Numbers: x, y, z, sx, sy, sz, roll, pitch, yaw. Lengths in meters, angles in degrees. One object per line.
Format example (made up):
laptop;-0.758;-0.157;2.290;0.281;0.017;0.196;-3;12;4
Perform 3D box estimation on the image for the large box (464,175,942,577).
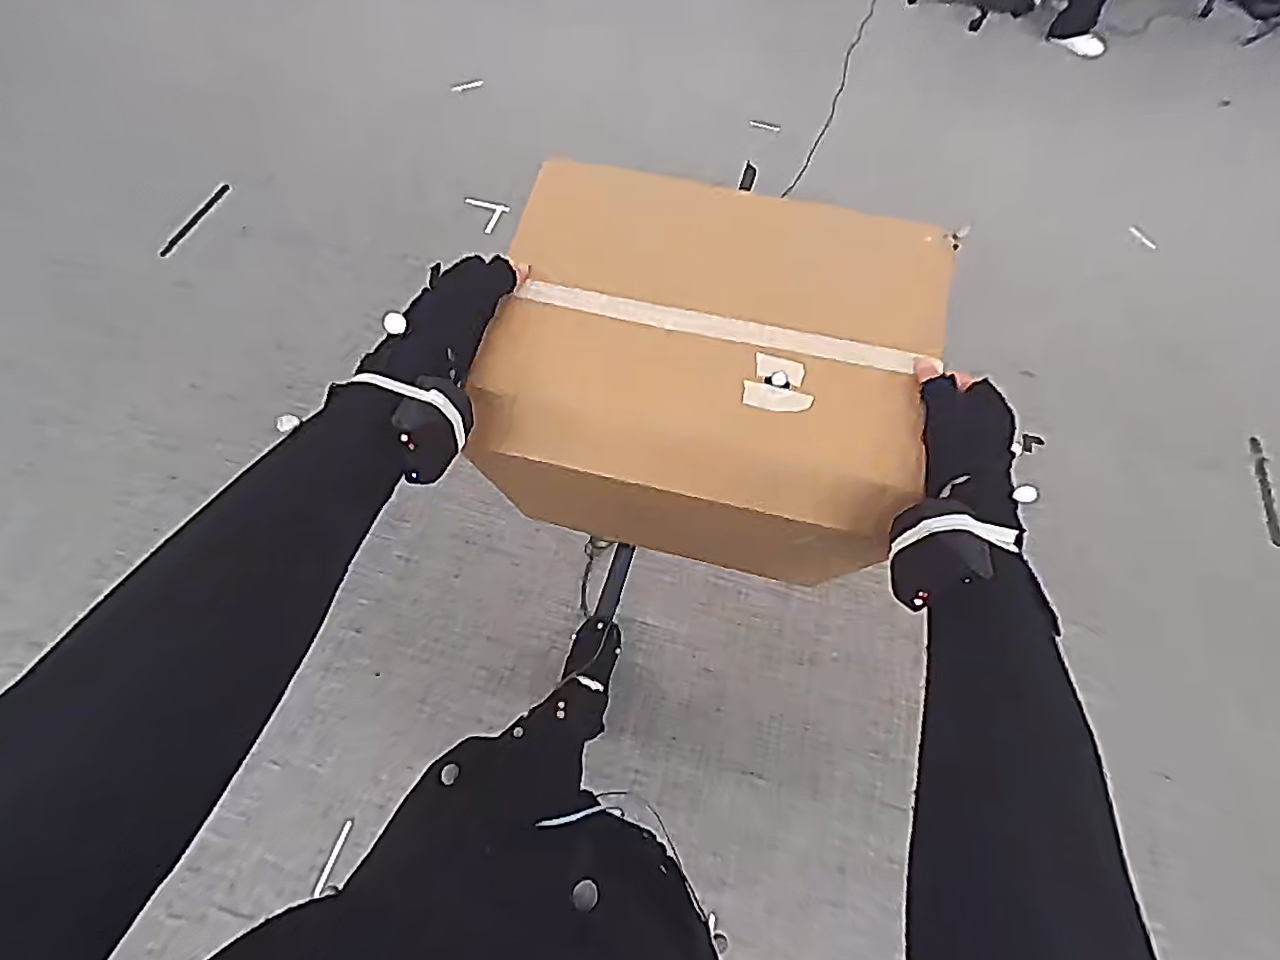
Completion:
large box;0.069;-0.093;0.645;0.408;0.320;0.320;13;75;5
